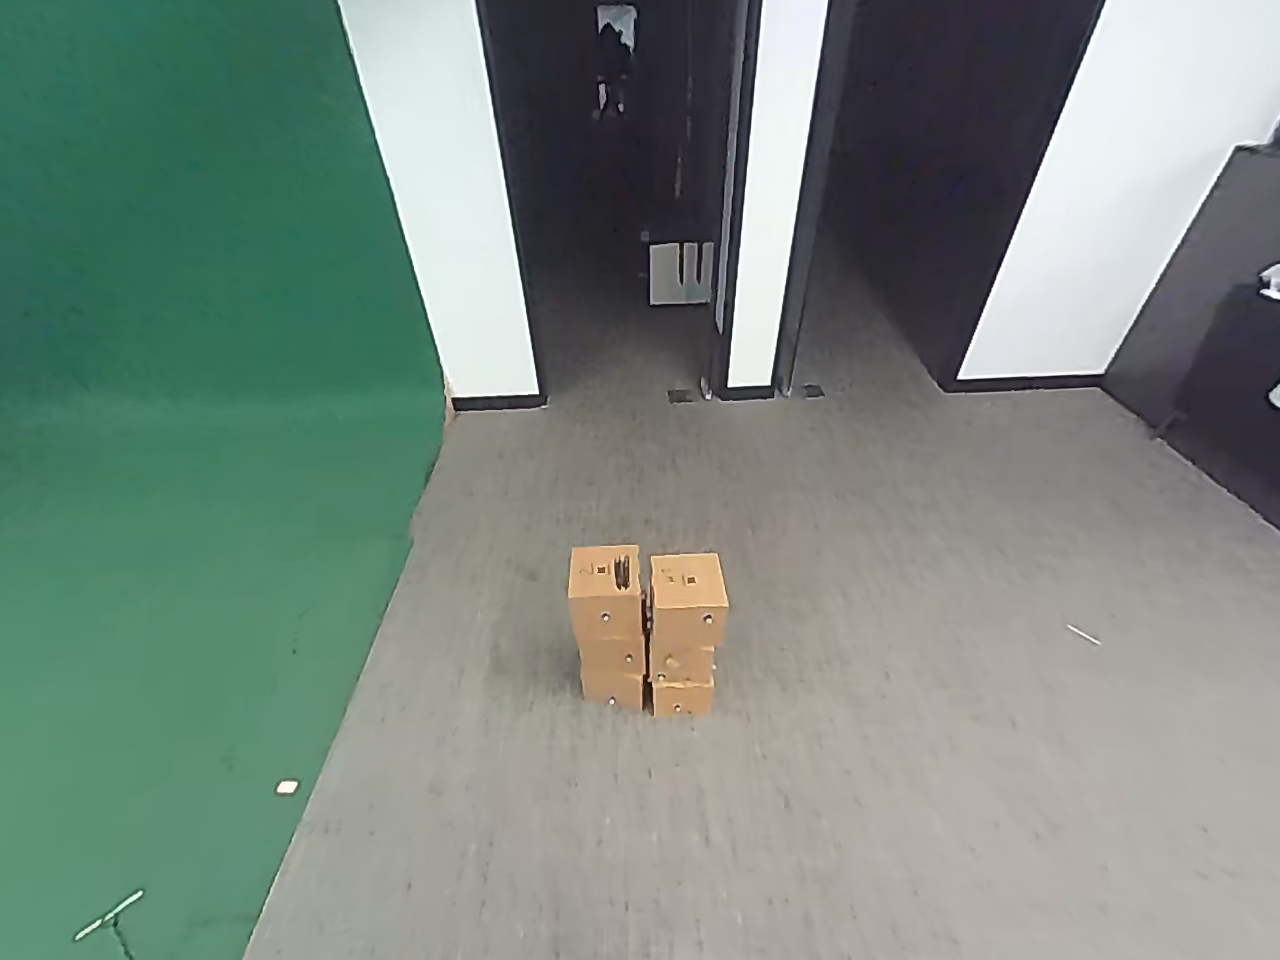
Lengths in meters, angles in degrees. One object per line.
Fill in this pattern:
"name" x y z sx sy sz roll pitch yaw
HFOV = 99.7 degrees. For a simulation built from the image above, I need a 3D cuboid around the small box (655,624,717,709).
"small box" 0.127 0.542 1.572 0.168 0.176 0.179 -2 42 0
